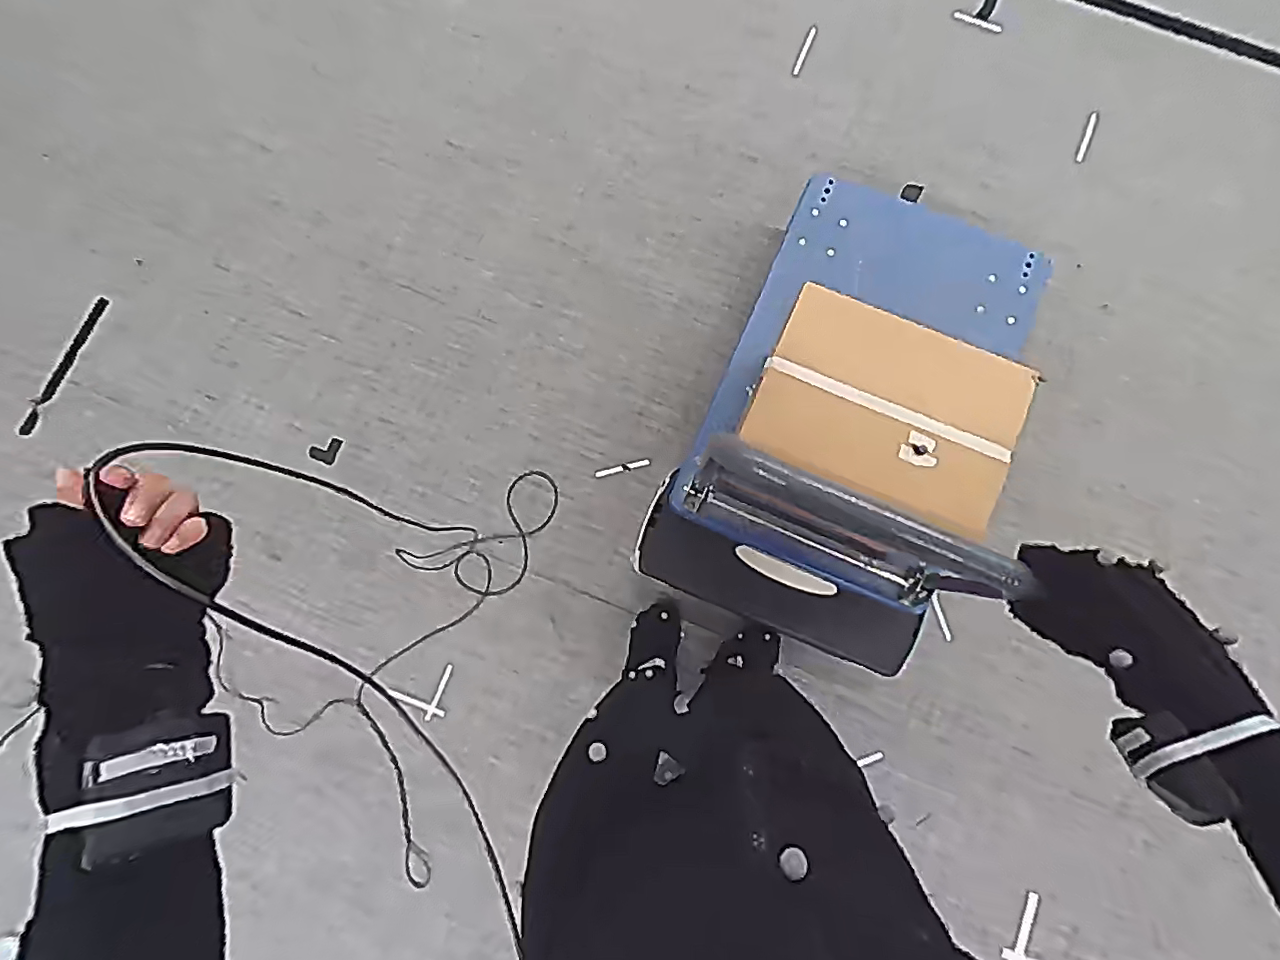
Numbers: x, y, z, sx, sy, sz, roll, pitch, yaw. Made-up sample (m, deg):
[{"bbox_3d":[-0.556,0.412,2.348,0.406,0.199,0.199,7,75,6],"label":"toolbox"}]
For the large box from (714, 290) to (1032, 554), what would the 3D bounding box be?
[{"bbox_3d":[0.391,-0.082,1.007,0.408,0.320,0.320,24,83,5],"label":"large box"}]
